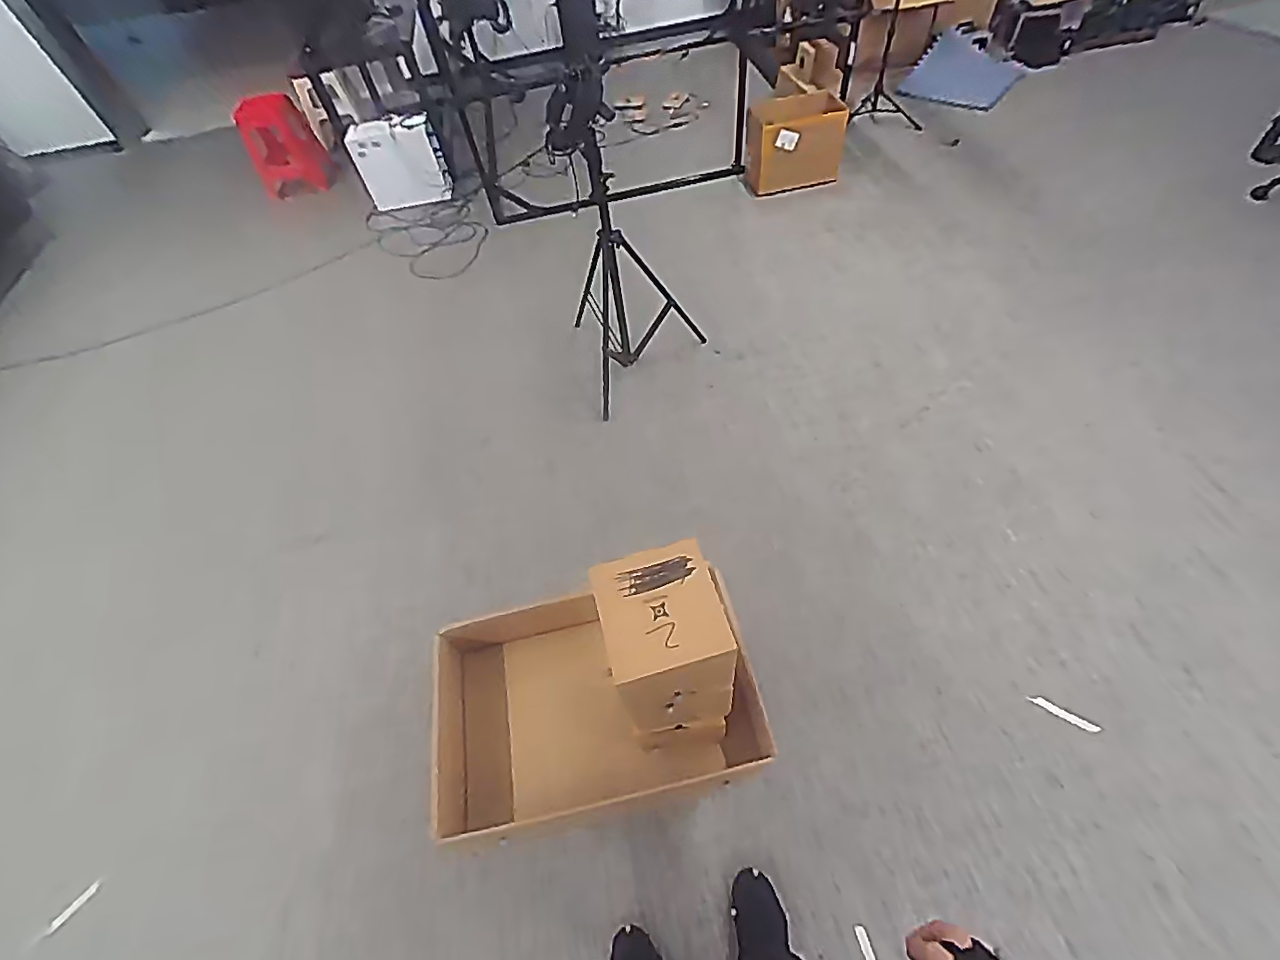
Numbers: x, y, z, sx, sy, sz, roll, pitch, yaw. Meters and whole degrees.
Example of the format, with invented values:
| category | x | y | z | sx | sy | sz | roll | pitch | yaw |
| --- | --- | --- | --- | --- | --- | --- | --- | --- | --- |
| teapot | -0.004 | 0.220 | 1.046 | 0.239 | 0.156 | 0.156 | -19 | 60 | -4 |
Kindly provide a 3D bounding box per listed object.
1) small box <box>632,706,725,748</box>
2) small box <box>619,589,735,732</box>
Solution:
| category | x | y | z | sx | sy | sz | roll | pitch | yaw |
| --- | --- | --- | --- | --- | --- | --- | --- | --- | --- |
| small box | 0.072 | 0.417 | 1.062 | 0.168 | 0.176 | 0.179 | -7 | 53 | 1 |
| small box | 0.062 | 0.314 | 0.935 | 0.168 | 0.176 | 0.179 | -11 | 53 | 0 |
